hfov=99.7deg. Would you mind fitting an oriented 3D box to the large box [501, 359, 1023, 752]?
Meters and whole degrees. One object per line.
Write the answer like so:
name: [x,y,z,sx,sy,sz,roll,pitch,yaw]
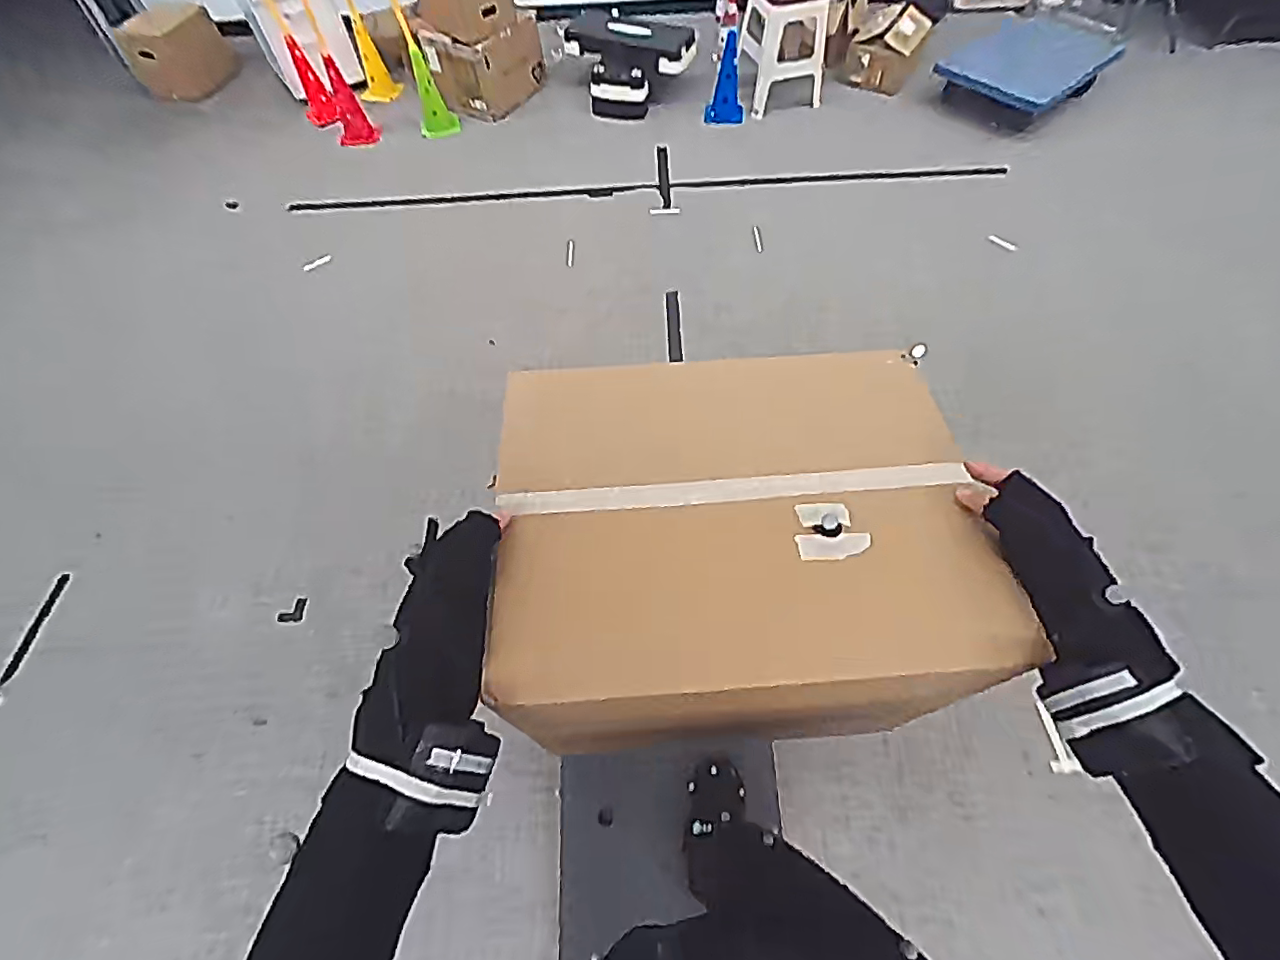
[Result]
large box: [0.081,0.096,0.603,0.408,0.320,0.320,-4,57,-2]
